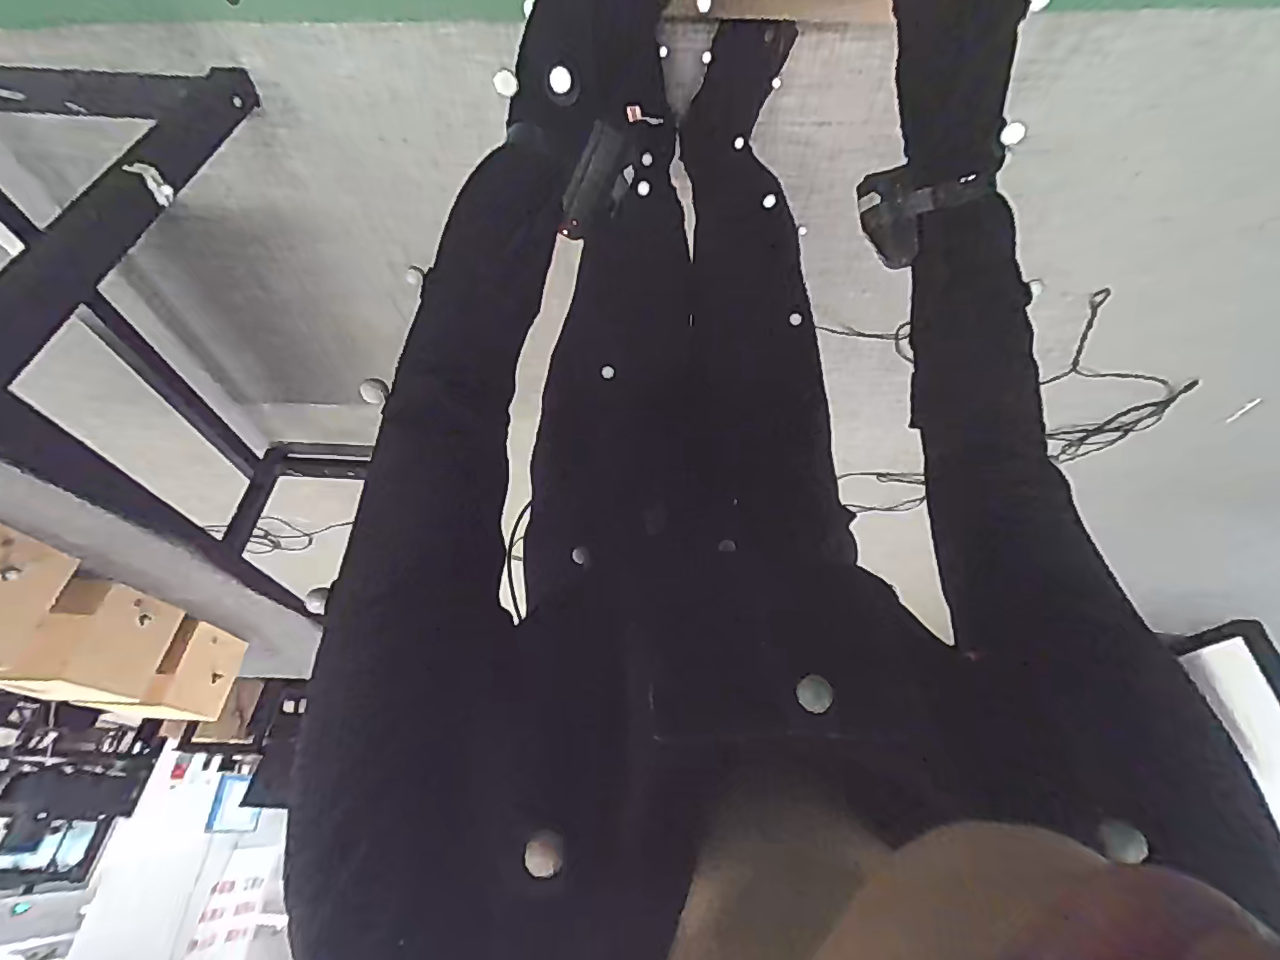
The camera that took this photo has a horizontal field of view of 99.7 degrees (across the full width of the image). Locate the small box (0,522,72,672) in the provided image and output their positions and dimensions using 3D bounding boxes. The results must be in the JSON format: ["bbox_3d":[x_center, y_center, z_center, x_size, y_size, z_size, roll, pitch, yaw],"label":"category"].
[{"bbox_3d":[-0.948,0.145,0.721,0.179,0.176,0.168,2,147,1],"label":"small box"}]
